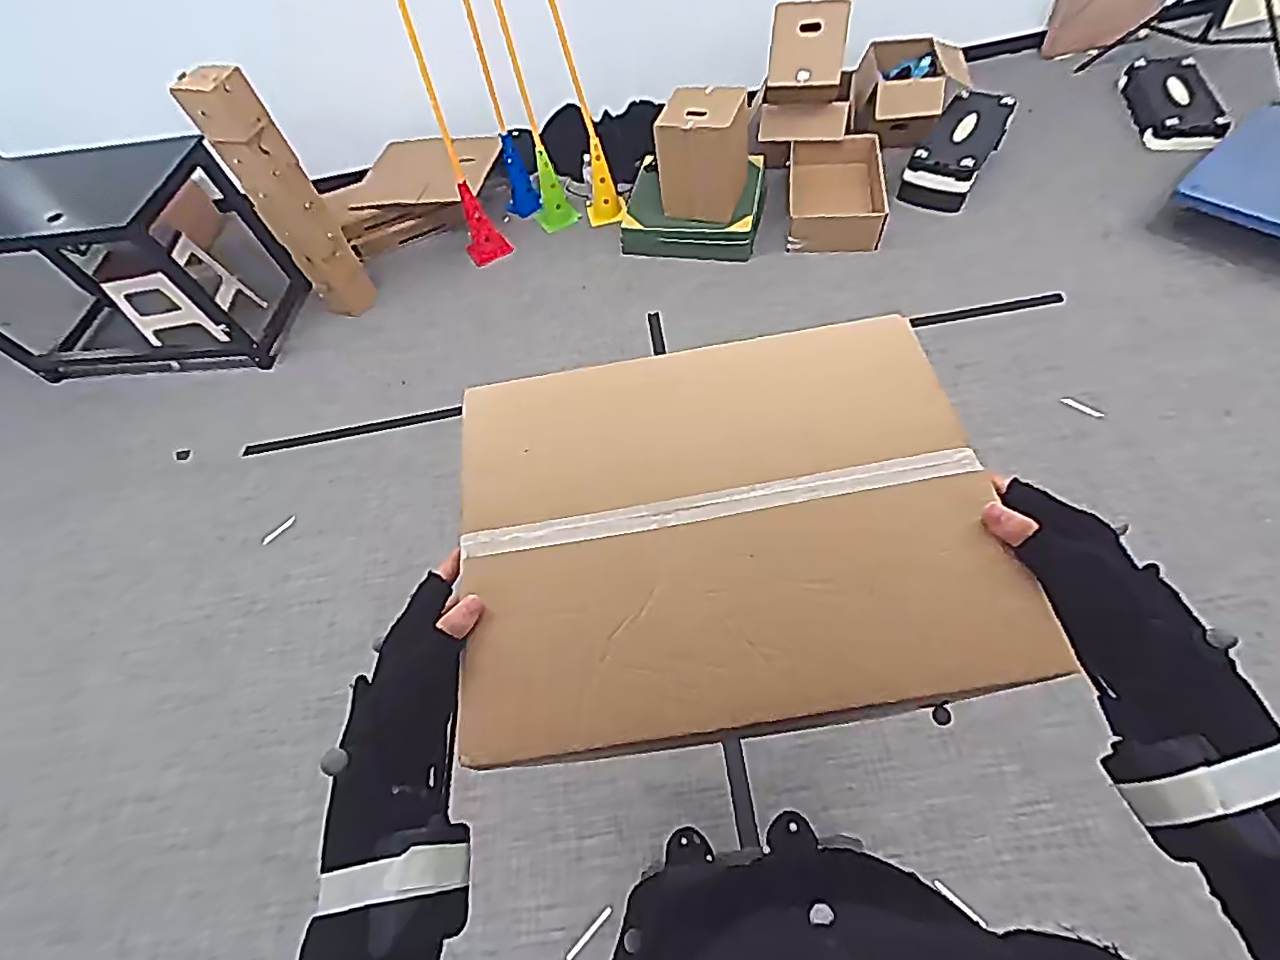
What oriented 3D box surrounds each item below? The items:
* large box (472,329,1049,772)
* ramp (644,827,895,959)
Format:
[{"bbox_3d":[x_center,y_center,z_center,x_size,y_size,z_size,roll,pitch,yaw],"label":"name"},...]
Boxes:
[{"bbox_3d":[0.077,0.095,0.566,0.408,0.320,0.320,-10,62,2],"label":"large box"},{"bbox_3d":[0.322,1.262,1.016,0.509,0.206,0.991,-11,58,0],"label":"ramp"}]
